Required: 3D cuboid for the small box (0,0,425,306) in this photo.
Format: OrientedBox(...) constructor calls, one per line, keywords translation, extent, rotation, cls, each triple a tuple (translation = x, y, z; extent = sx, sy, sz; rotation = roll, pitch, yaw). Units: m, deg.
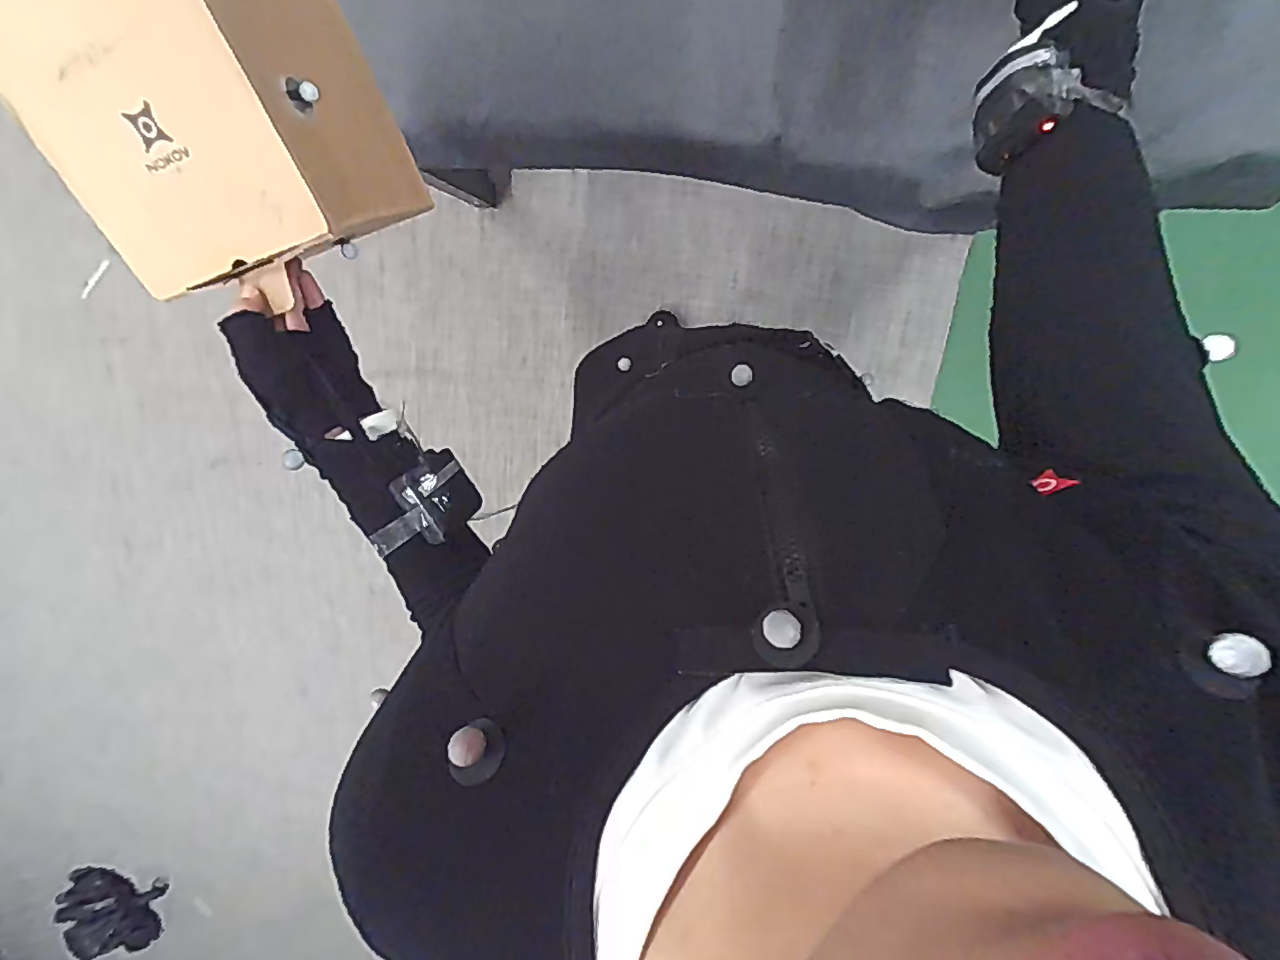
OrientedBox(translation=(-0.298, -0.257, 0.407), extent=(0.168, 0.176, 0.179), rotation=(-13, 119, 14), cls="small box")
